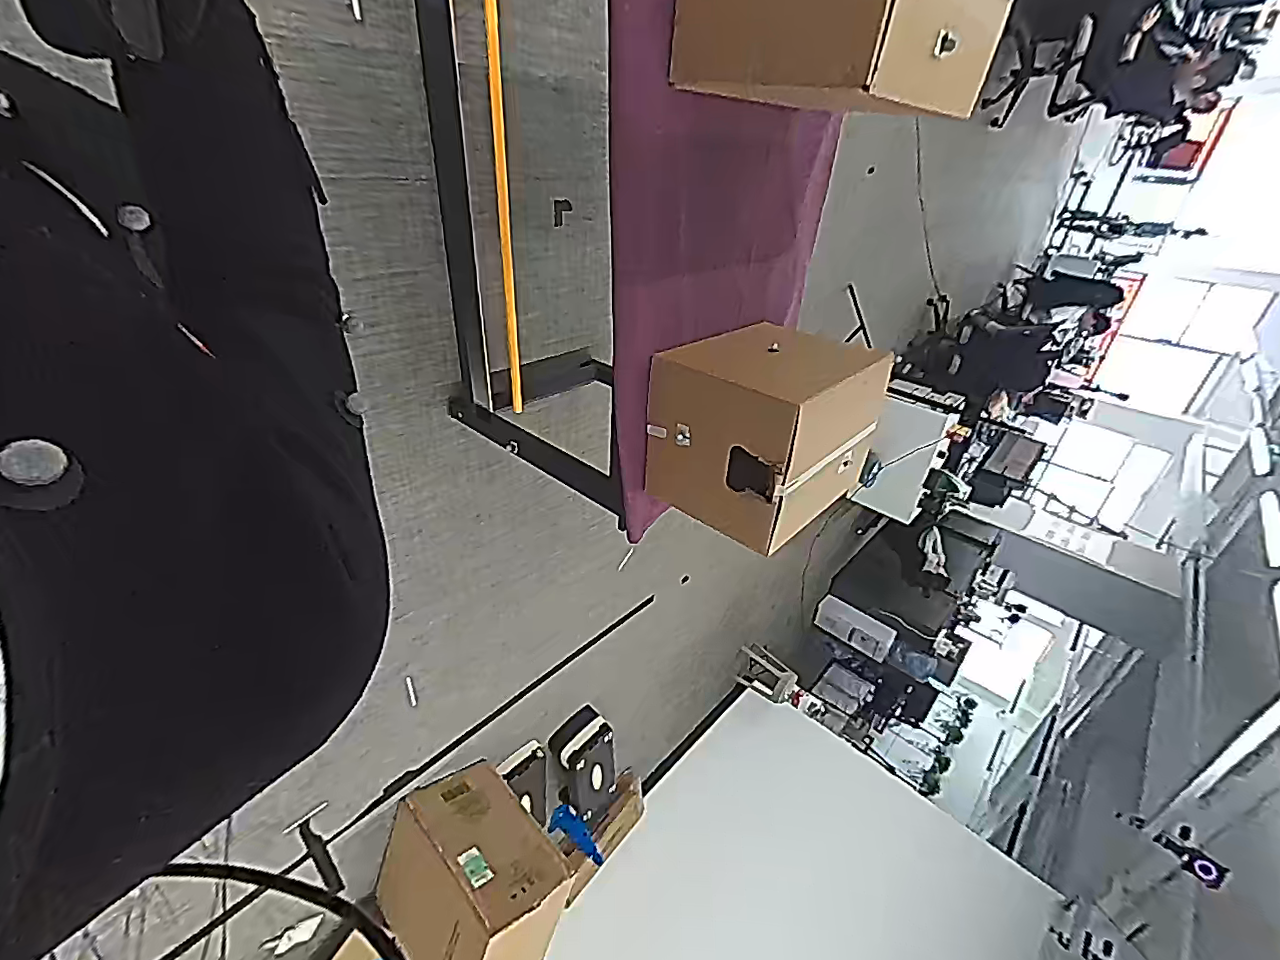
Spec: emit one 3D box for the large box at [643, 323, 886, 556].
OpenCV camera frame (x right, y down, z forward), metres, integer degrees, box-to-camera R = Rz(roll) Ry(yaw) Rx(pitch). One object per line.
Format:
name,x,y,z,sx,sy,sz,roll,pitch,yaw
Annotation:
large box,0.249,-0.113,1.127,0.408,0.320,0.320,-28,134,-41
